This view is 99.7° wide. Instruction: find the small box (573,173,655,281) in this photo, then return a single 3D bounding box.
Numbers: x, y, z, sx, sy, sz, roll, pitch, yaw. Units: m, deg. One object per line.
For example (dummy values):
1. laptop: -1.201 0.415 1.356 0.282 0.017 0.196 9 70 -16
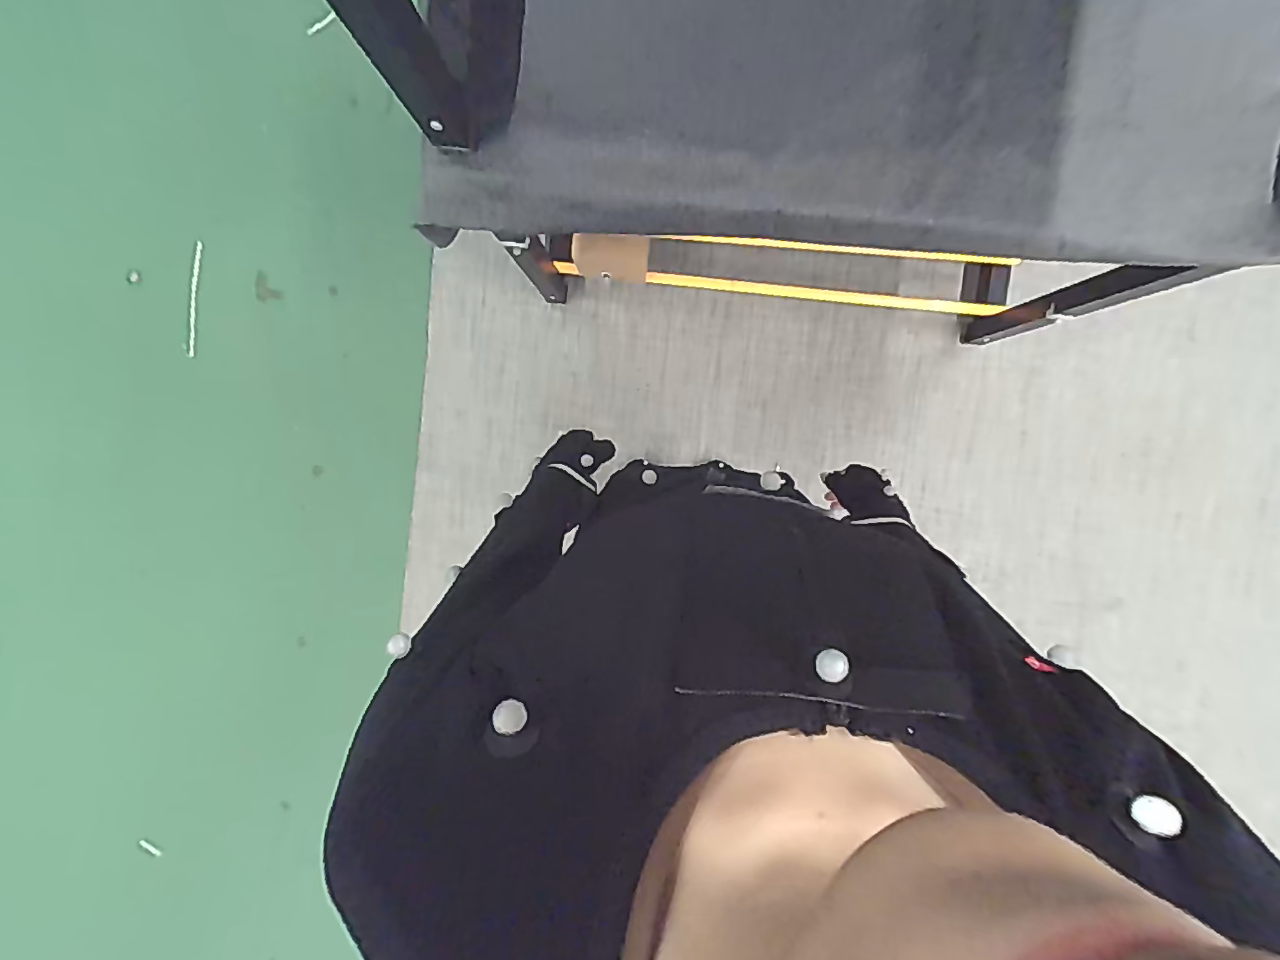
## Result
1. small box: -0.056 -0.582 1.261 0.168 0.176 0.179 6 96 2
